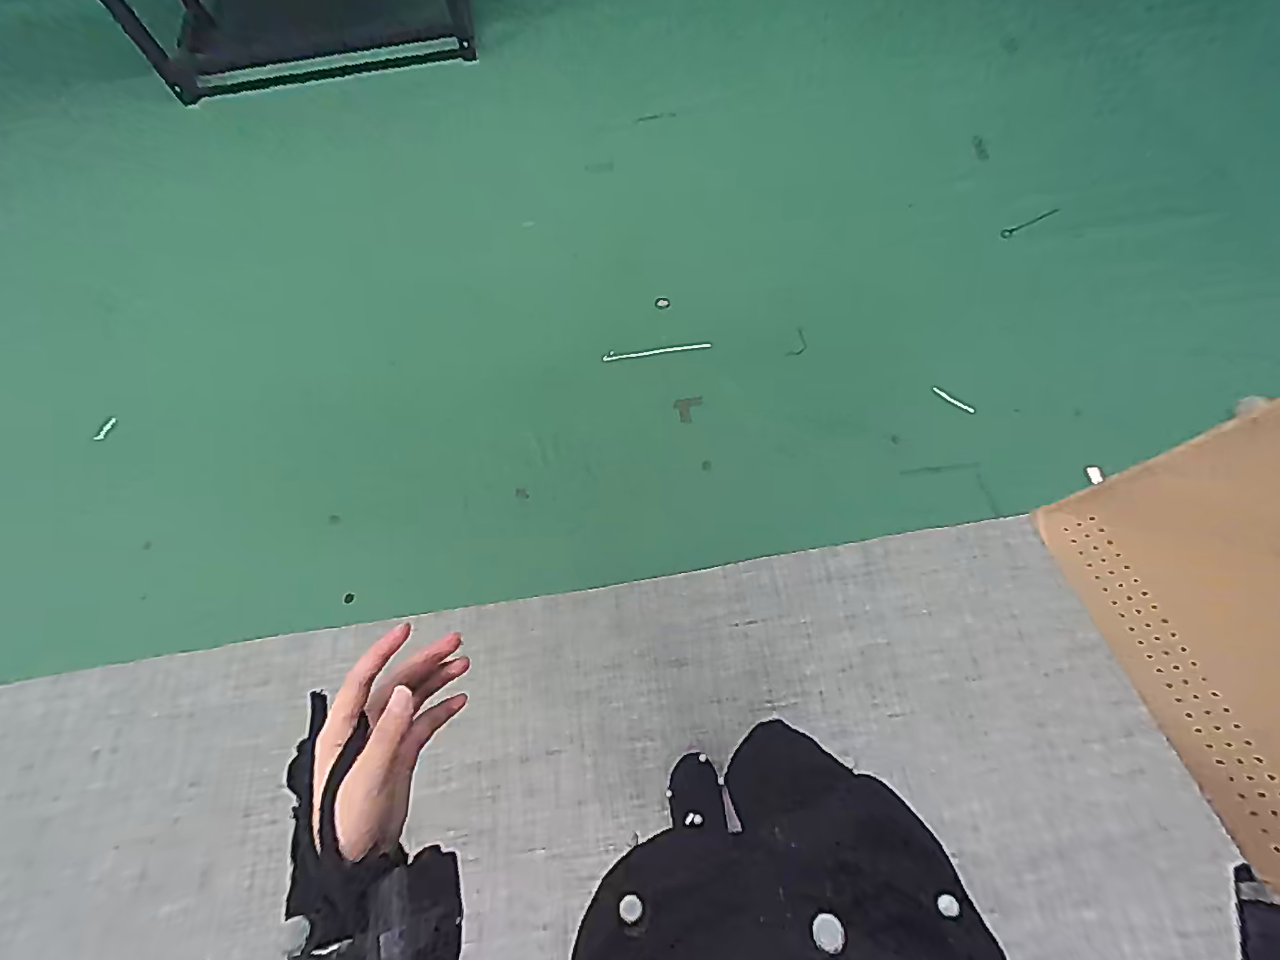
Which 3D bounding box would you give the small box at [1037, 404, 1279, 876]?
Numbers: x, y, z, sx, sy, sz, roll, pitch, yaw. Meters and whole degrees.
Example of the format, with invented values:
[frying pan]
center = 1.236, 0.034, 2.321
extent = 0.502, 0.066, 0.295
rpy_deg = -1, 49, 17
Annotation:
[small box]
center = 0.328, 0.050, 0.229
extent = 0.168, 0.176, 0.179
rpy_deg = -8, 63, -25
